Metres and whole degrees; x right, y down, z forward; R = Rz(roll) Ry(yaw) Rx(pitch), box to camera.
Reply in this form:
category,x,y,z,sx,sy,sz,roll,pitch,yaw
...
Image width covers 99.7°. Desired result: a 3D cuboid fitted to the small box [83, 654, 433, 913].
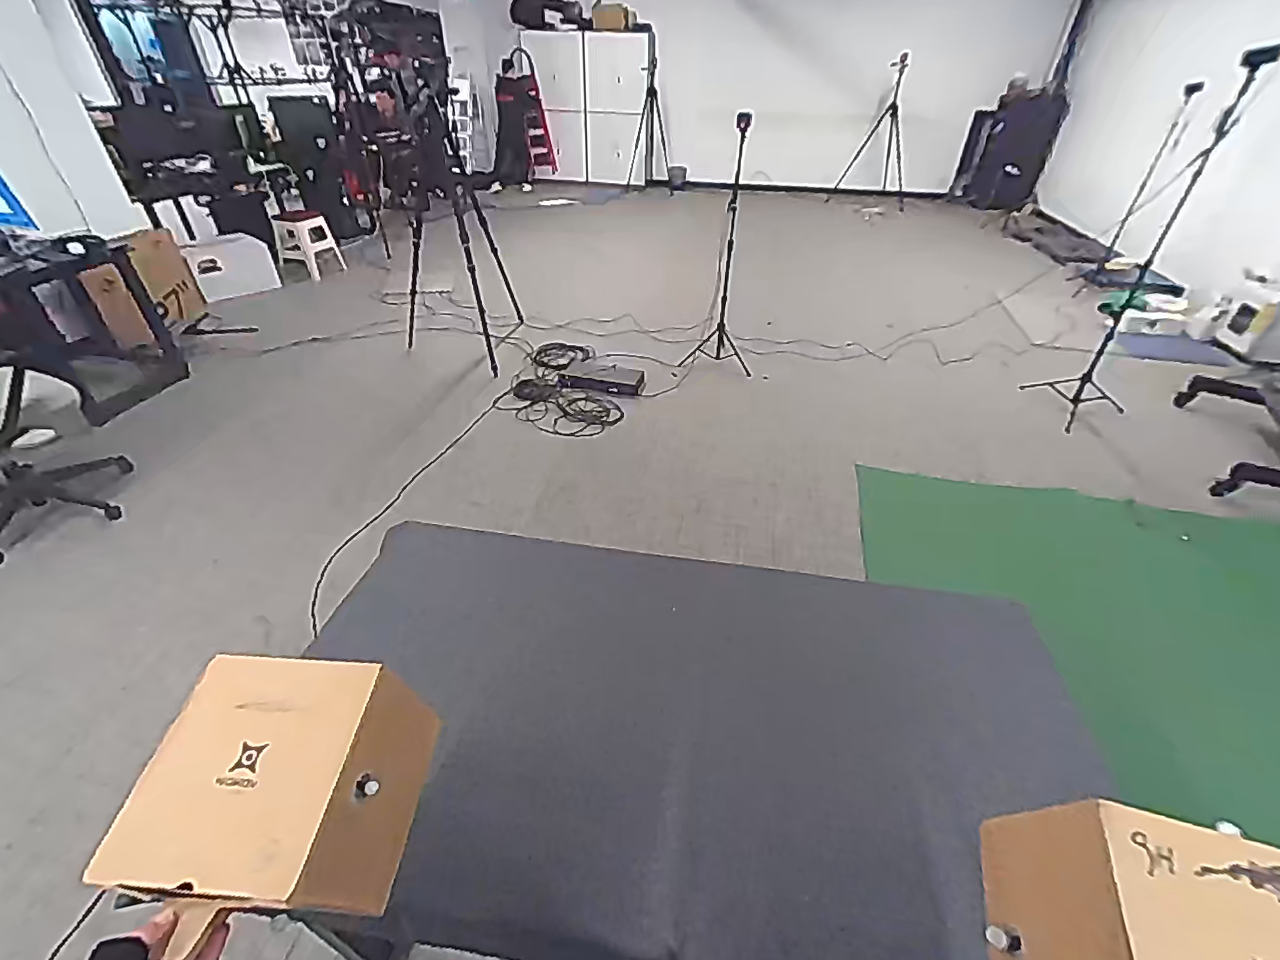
category,x,y,z,sx,sy,sz,roll,pitch,yaw
small box,-0.314,0.281,0.499,0.168,0.176,0.179,2,49,4

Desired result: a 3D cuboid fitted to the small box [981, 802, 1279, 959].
category,x,y,z,sx,sy,sz,roll,pitch,yaw
small box,0.368,0.352,0.376,0.168,0.176,0.179,13,55,9
